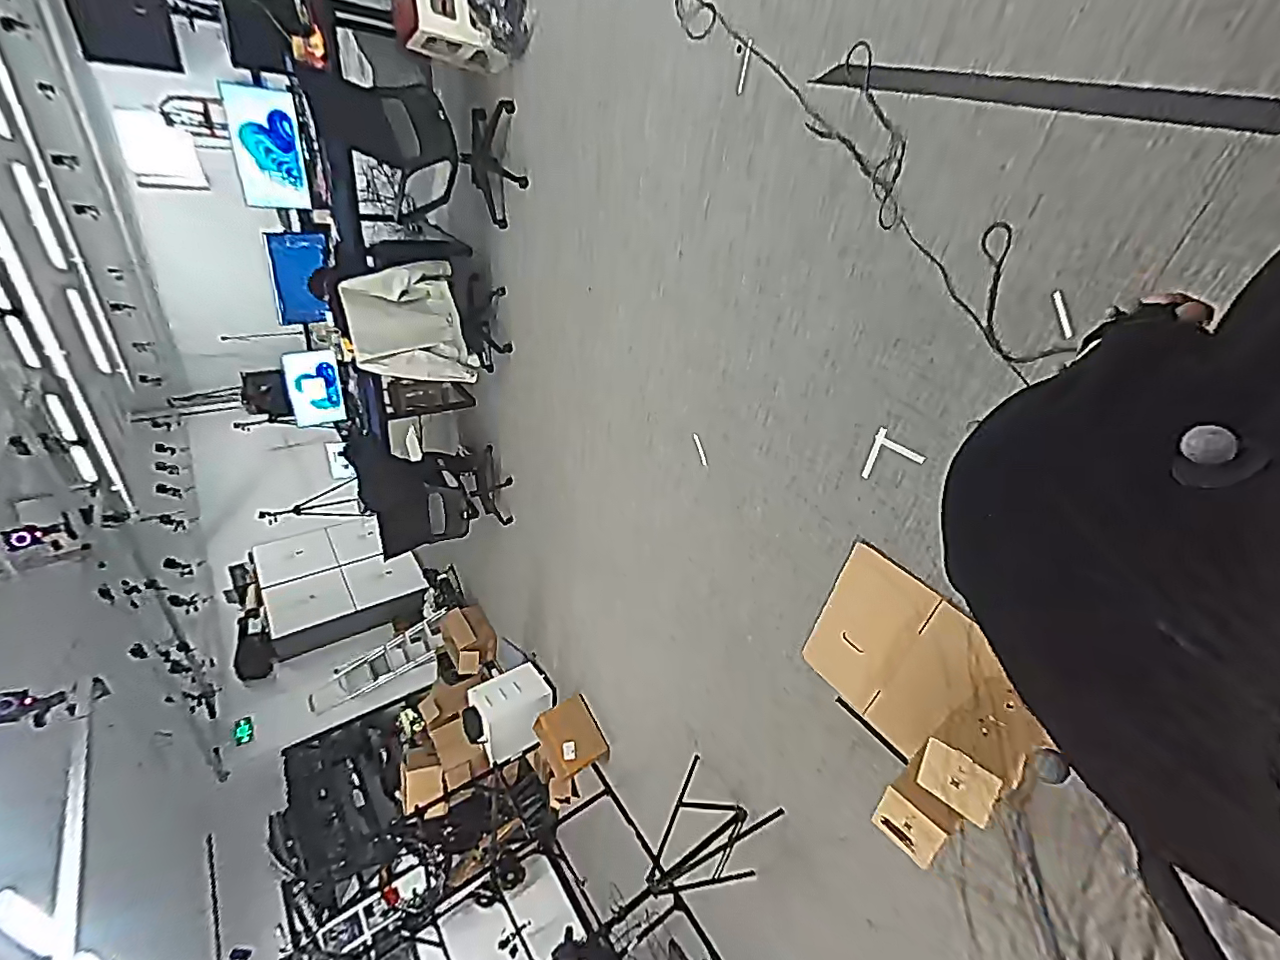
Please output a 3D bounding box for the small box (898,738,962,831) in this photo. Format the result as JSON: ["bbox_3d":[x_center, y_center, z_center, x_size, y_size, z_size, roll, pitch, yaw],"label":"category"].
[{"bbox_3d":[0.914,0.891,1.621,0.168,0.176,0.179,32,128,43],"label":"small box"}]

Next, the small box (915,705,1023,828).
[{"bbox_3d":[0.831,0.715,1.366,0.168,0.176,0.179,27,125,45],"label":"small box"}]

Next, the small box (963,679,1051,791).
[{"bbox_3d":[0.966,0.673,1.451,0.168,0.176,0.179,27,125,46],"label":"small box"}]
